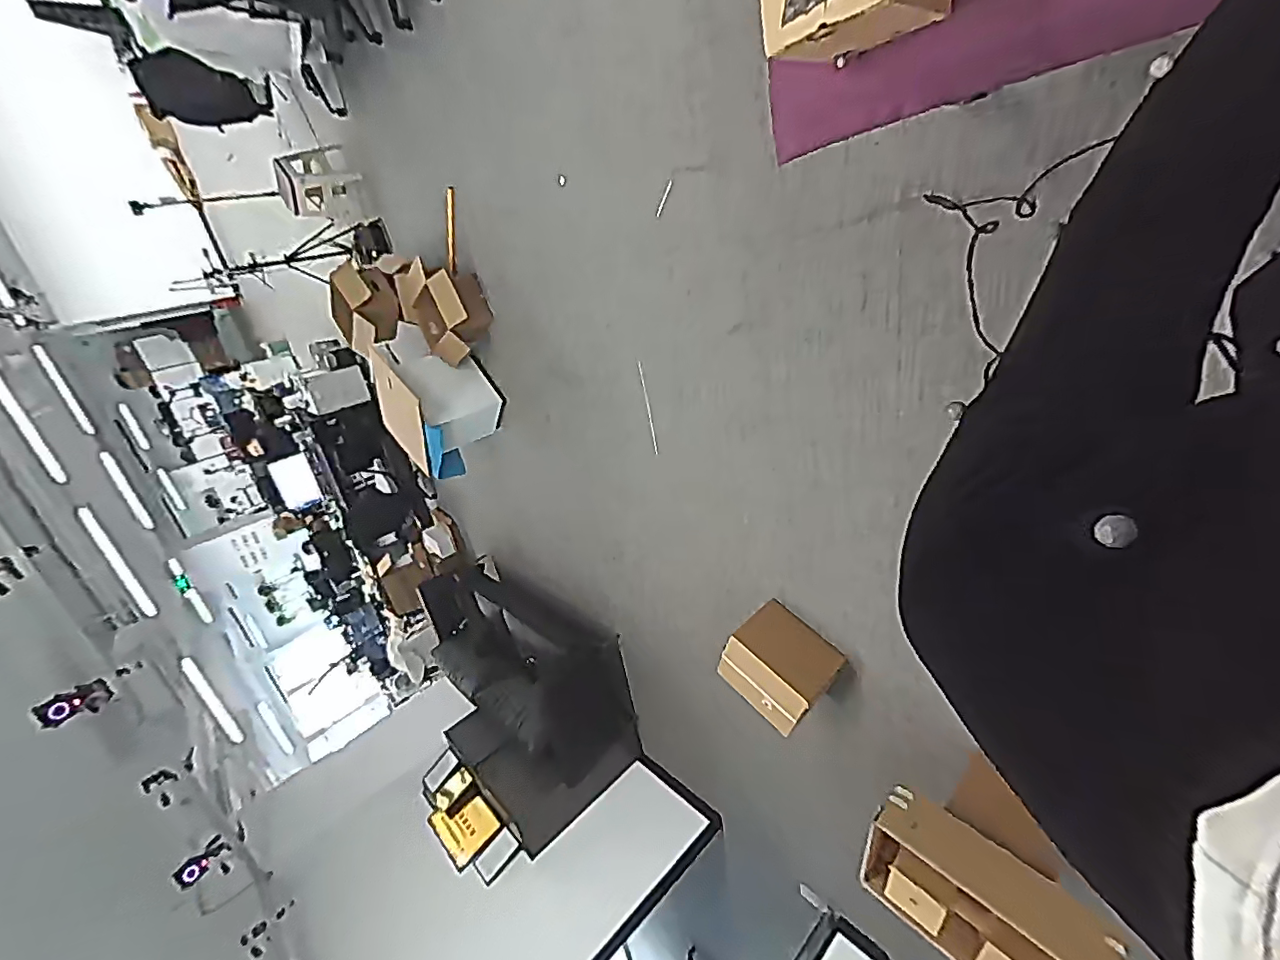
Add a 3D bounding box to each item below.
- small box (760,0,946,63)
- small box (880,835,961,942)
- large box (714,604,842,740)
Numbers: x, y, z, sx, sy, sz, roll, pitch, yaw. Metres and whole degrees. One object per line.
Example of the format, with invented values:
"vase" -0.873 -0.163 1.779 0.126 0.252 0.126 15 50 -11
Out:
"small box" 0.260 -0.636 0.655 0.168 0.176 0.179 15 123 46
"small box" 0.889 1.288 1.713 0.168 0.176 0.179 24 129 41
"large box" 0.599 0.833 2.383 0.408 0.320 0.320 37 139 29
